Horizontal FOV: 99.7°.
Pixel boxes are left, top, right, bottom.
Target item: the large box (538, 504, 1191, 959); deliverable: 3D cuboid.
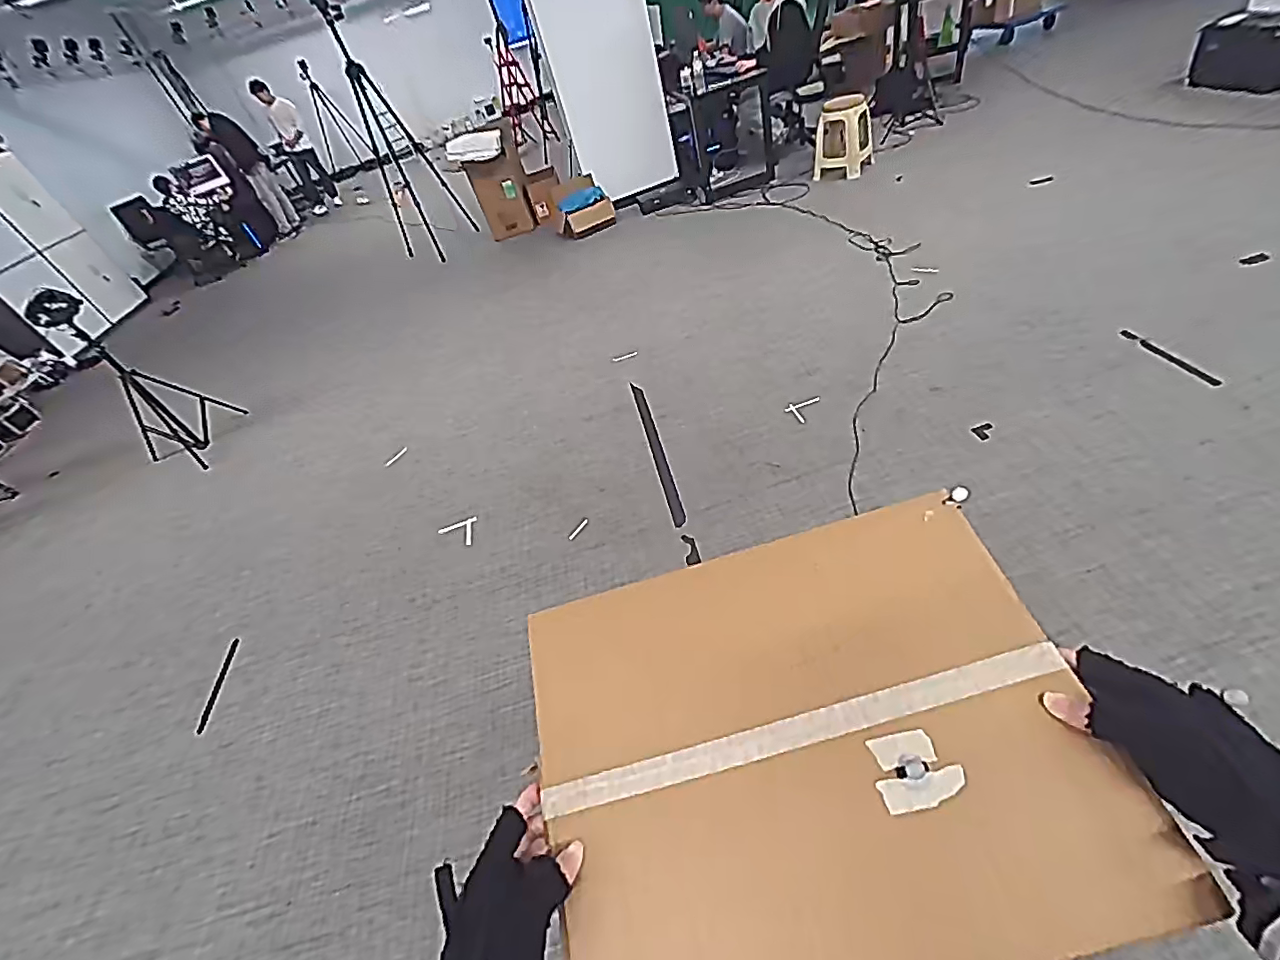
[{"bbox_3d":[0.152,0.283,0.548,0.408,0.320,0.320,-18,55,2],"label":"large box"}]
